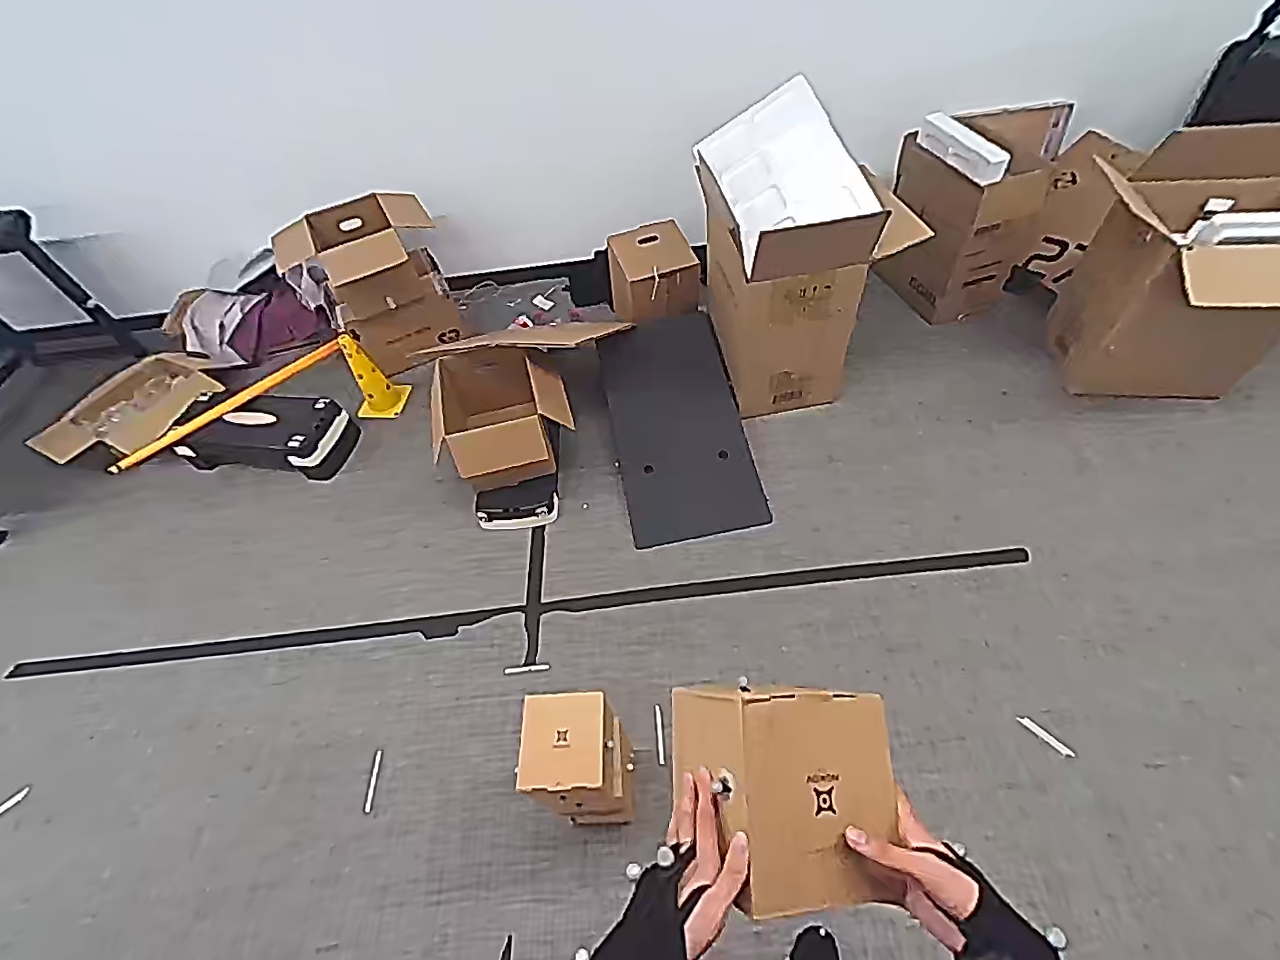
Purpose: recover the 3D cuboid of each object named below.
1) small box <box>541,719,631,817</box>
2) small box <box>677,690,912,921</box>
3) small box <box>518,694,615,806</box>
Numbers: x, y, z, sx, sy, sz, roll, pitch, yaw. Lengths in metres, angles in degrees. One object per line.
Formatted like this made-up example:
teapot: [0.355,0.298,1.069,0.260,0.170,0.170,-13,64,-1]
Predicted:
small box: [-0.119,0.662,1.238,0.179,0.176,0.168,-6,52,1]
small box: [0.144,0.314,0.563,0.168,0.176,0.179,7,70,-18]
small box: [-0.143,0.558,1.114,0.168,0.176,0.179,-4,53,2]
